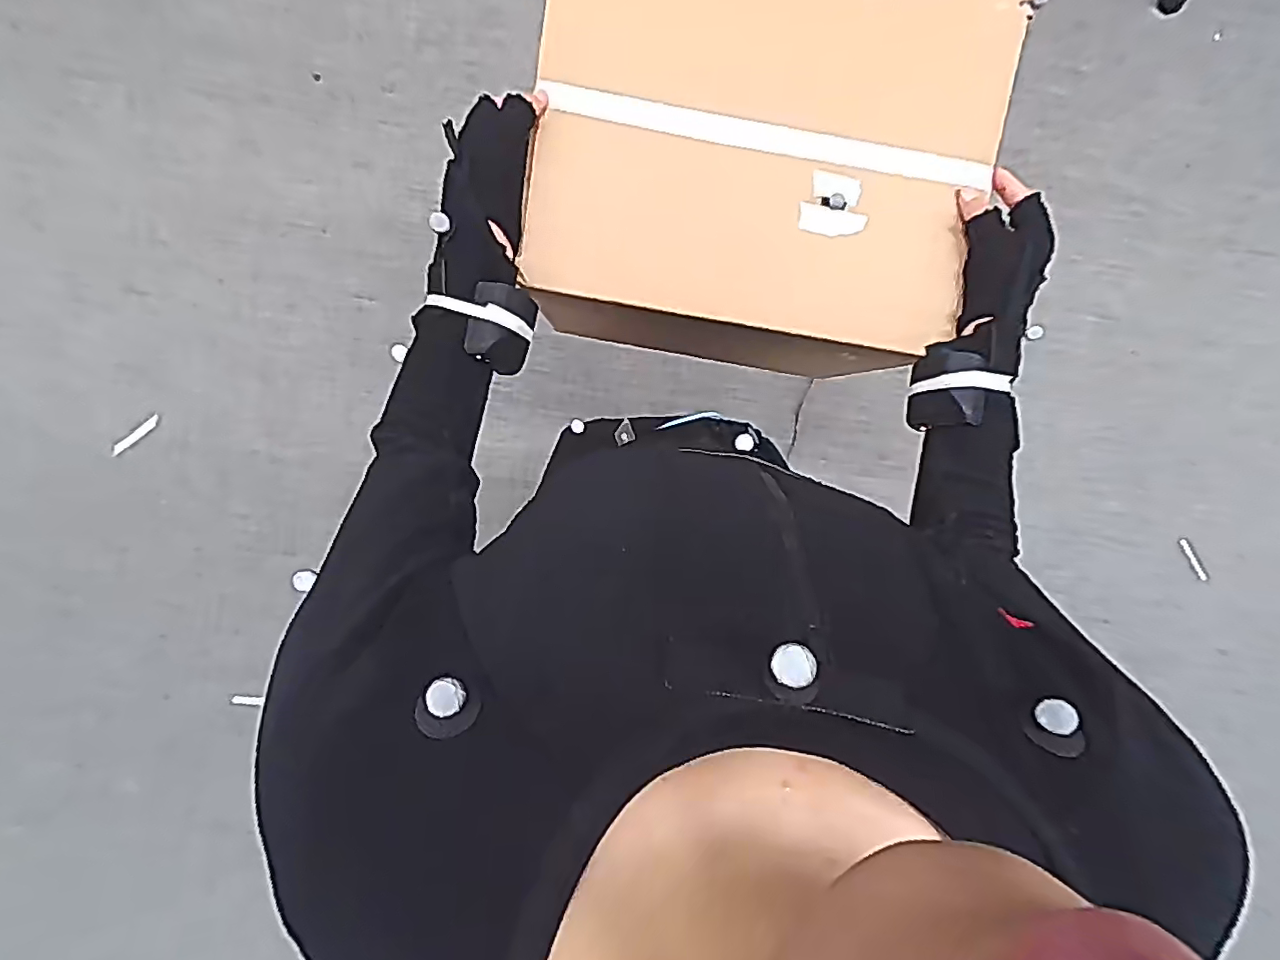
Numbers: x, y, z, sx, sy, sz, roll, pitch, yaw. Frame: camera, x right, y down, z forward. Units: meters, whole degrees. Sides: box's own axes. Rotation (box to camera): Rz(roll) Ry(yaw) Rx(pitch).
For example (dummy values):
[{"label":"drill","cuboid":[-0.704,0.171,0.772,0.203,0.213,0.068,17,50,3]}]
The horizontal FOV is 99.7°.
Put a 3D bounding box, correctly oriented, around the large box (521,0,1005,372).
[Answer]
[{"label":"large box","cuboid":[0.100,-0.320,0.633,0.408,0.320,0.320,9,98,-4]}]
